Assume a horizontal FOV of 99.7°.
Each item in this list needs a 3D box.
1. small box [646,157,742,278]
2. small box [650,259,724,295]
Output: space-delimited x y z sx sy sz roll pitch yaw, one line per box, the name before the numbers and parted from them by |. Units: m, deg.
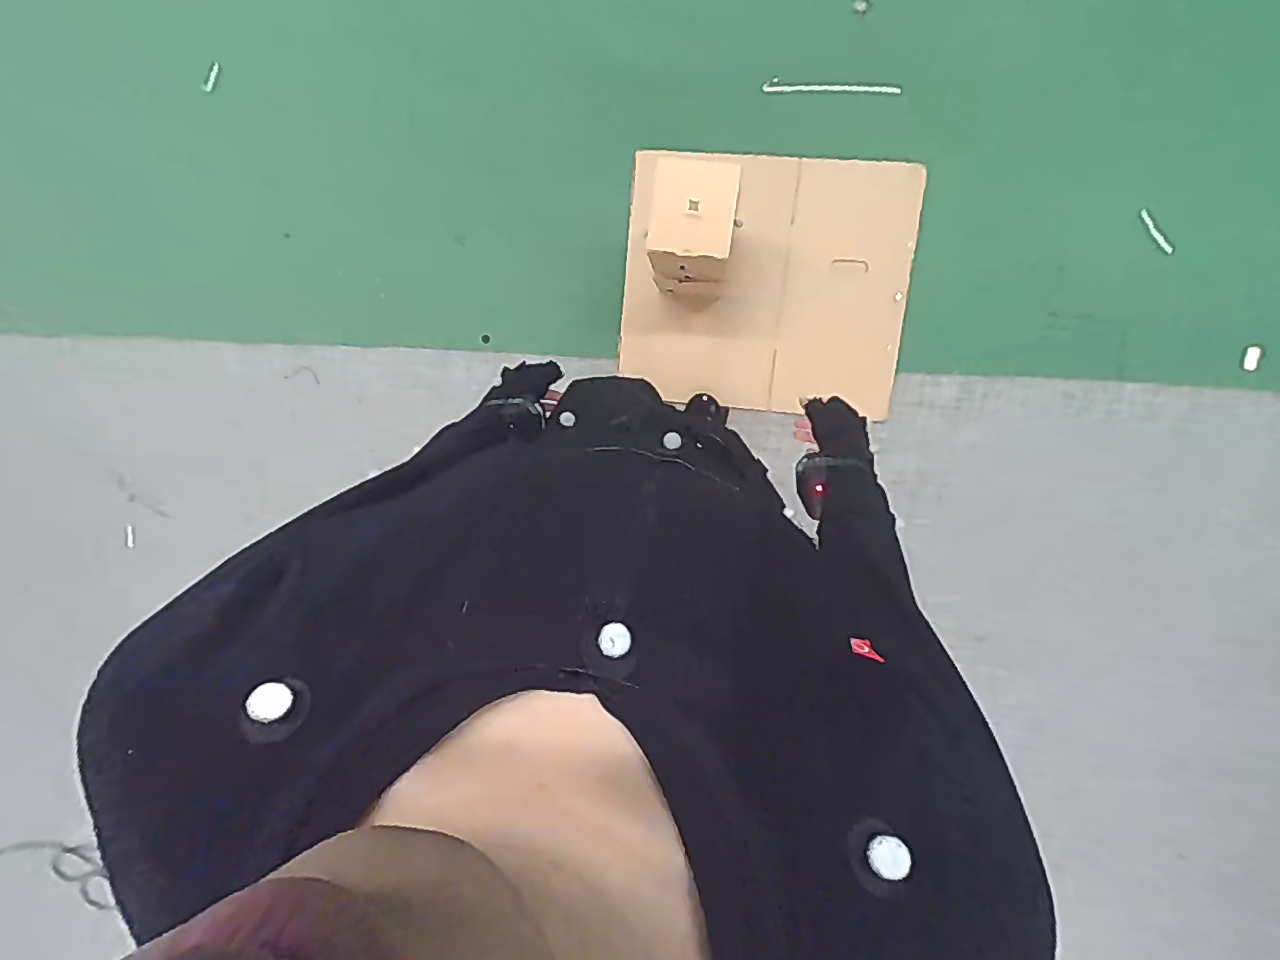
small box | 0.110 -0.532 1.116 0.168 0.176 0.179 8 100 5
small box | 0.123 -0.545 1.278 0.168 0.176 0.179 7 98 6
